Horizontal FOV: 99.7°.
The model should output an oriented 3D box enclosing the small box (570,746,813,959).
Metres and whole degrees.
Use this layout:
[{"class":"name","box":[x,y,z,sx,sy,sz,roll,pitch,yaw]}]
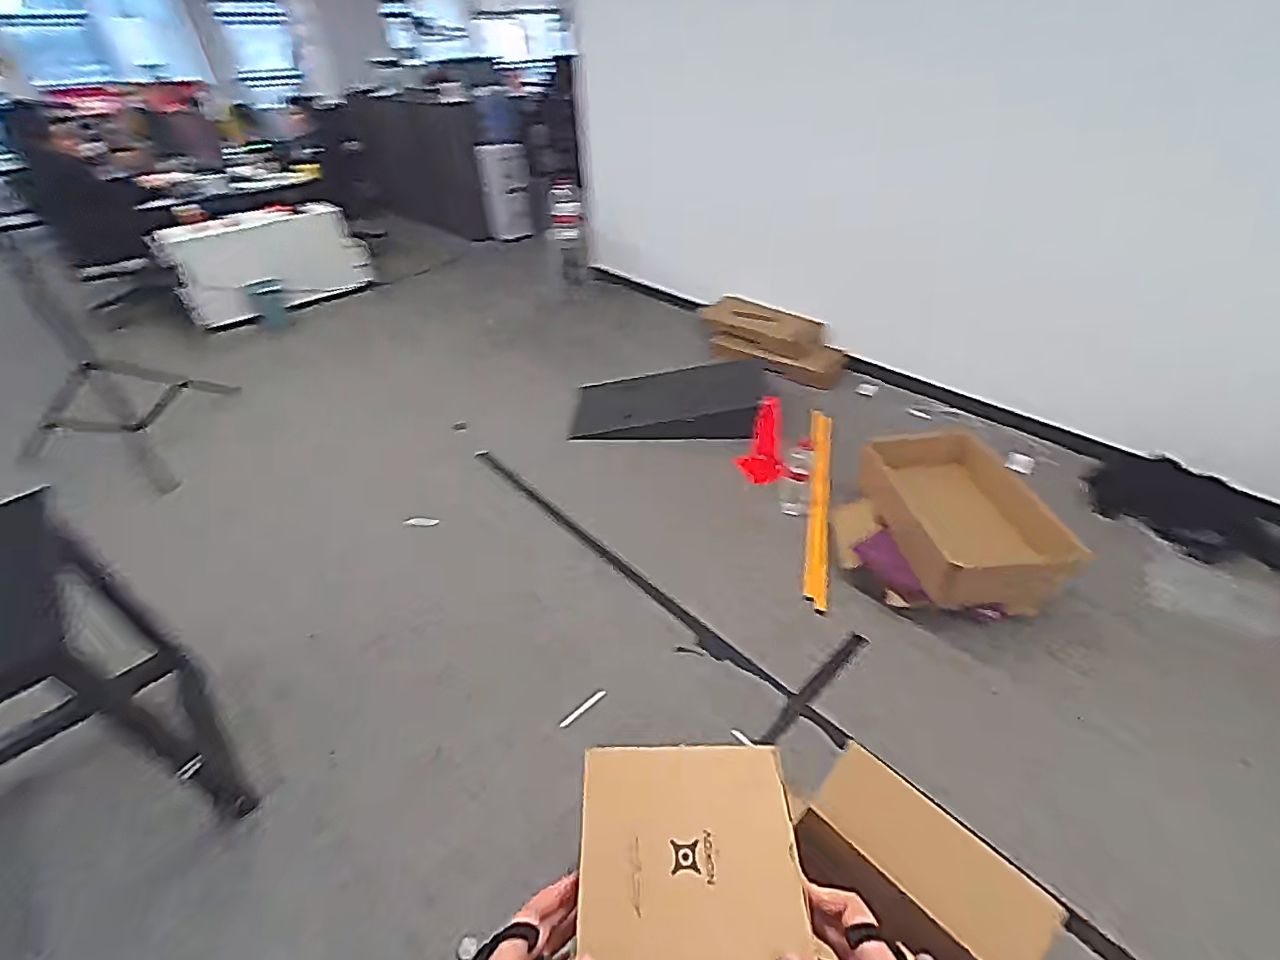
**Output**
[{"class":"small box","box":[0.032,0.355,0.483,0.179,0.176,0.168,-2,45,-3]}]
